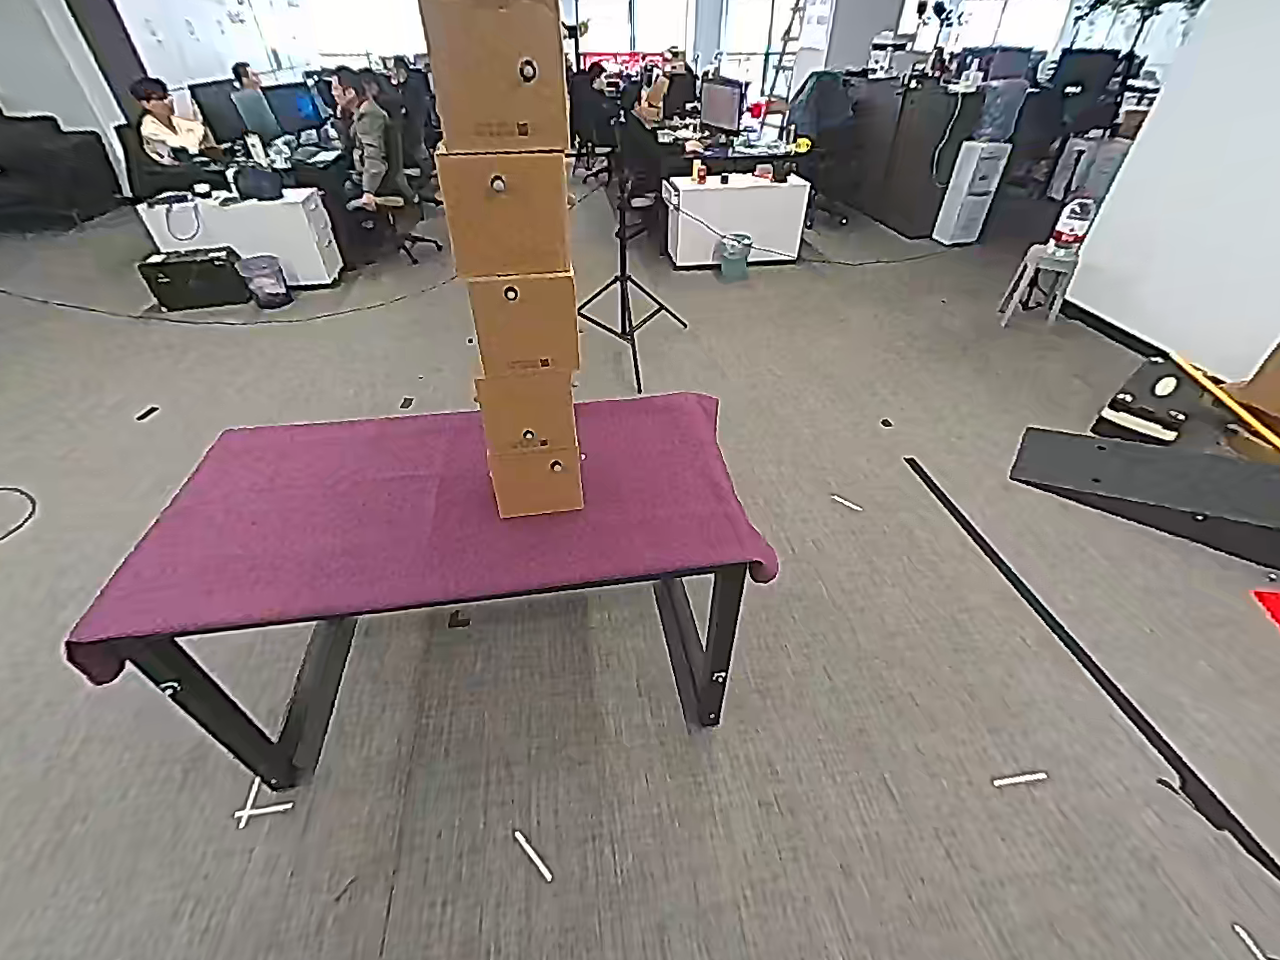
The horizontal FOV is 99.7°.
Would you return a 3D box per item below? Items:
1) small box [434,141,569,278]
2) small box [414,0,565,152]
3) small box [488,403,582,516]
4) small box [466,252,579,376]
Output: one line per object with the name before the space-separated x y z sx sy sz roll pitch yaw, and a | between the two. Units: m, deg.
small box | -0.206 -0.429 0.845 0.179 0.176 0.168 -7 41 -8
small box | -0.197 -0.557 0.745 0.168 0.176 0.179 -7 39 -10
small box | -0.217 -0.044 1.147 0.179 0.176 0.168 -7 40 -7
small box | -0.198 -0.297 0.941 0.168 0.176 0.179 -6 40 -8
